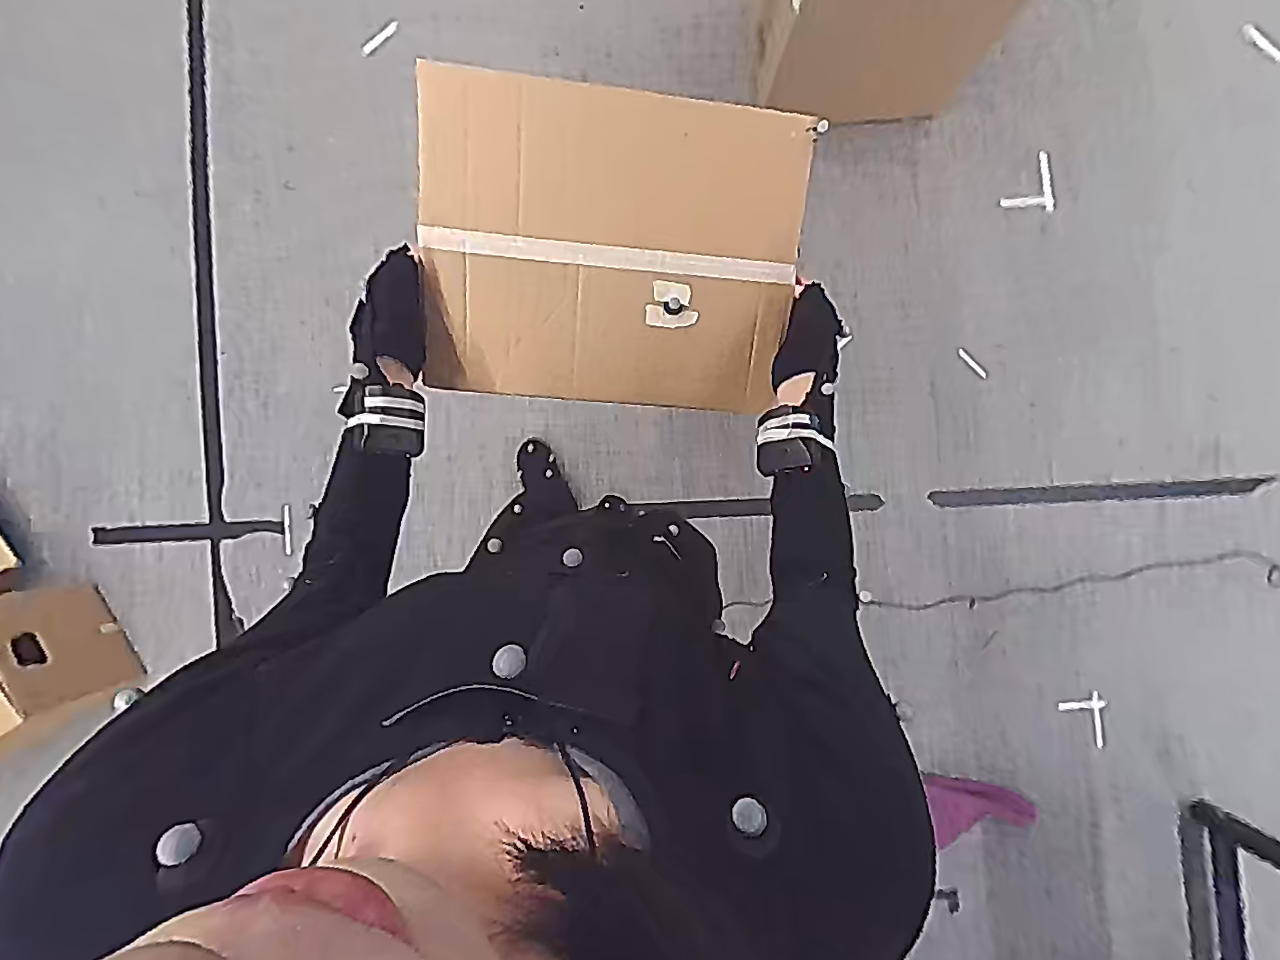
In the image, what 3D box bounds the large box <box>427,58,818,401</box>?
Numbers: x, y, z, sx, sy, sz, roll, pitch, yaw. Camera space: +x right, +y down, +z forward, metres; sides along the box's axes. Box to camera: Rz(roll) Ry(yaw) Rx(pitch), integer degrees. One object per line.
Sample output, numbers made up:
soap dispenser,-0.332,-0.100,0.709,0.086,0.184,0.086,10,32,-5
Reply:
large box,-0.038,-0.287,0.721,0.408,0.320,0.320,3,105,-8
